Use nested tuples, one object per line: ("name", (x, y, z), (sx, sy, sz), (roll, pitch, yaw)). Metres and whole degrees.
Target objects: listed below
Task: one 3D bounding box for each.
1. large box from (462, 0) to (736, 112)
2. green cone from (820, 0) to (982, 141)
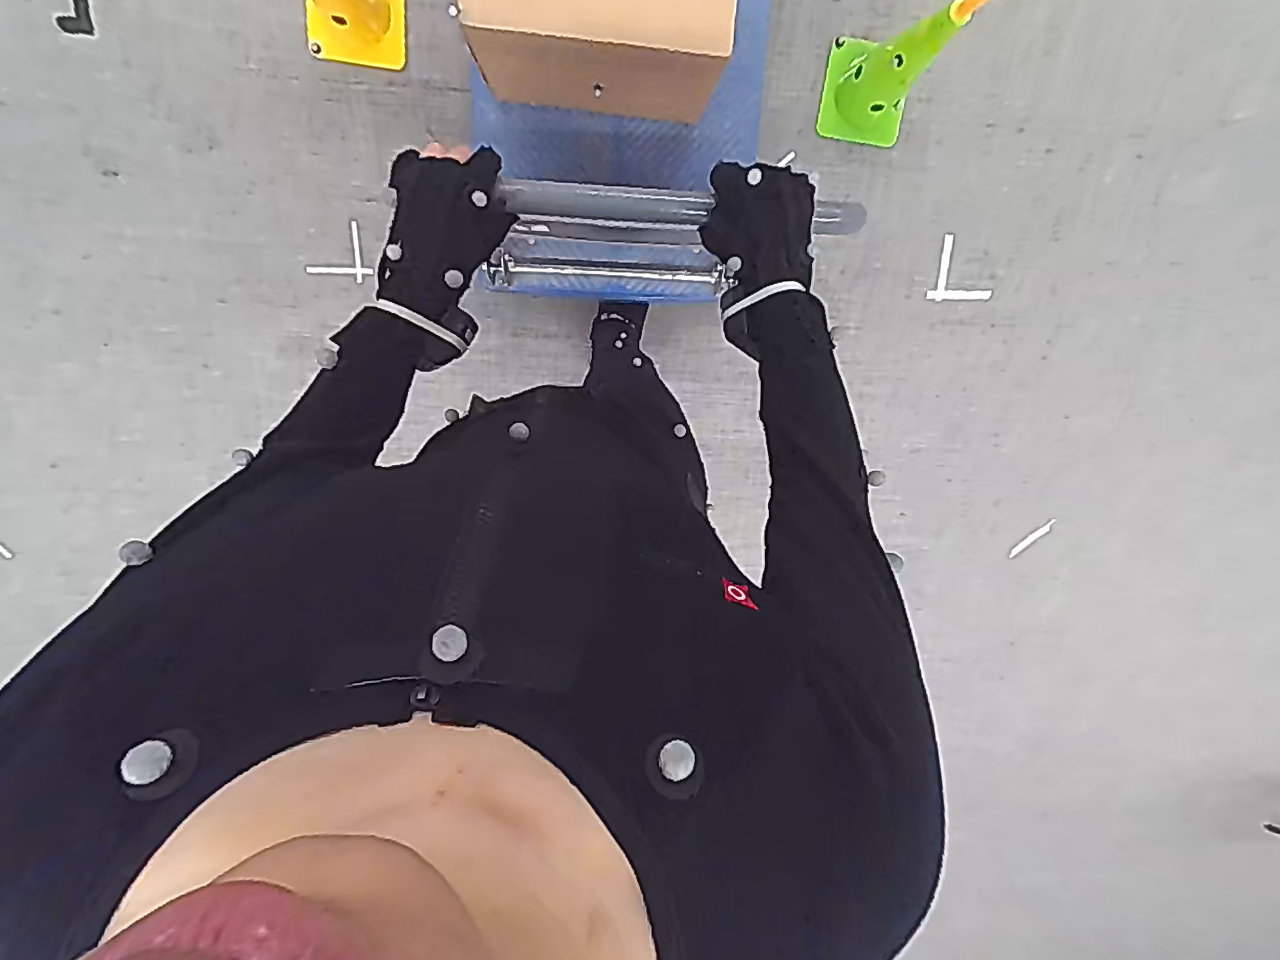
("large box", (-0.059, -0.846, 0.894), (0.408, 0.320, 0.320), (3, 107, -5))
("green cone", (0.541, -0.859, 1.088), (0.202, 0.368, 0.200), (5, 107, -7))
